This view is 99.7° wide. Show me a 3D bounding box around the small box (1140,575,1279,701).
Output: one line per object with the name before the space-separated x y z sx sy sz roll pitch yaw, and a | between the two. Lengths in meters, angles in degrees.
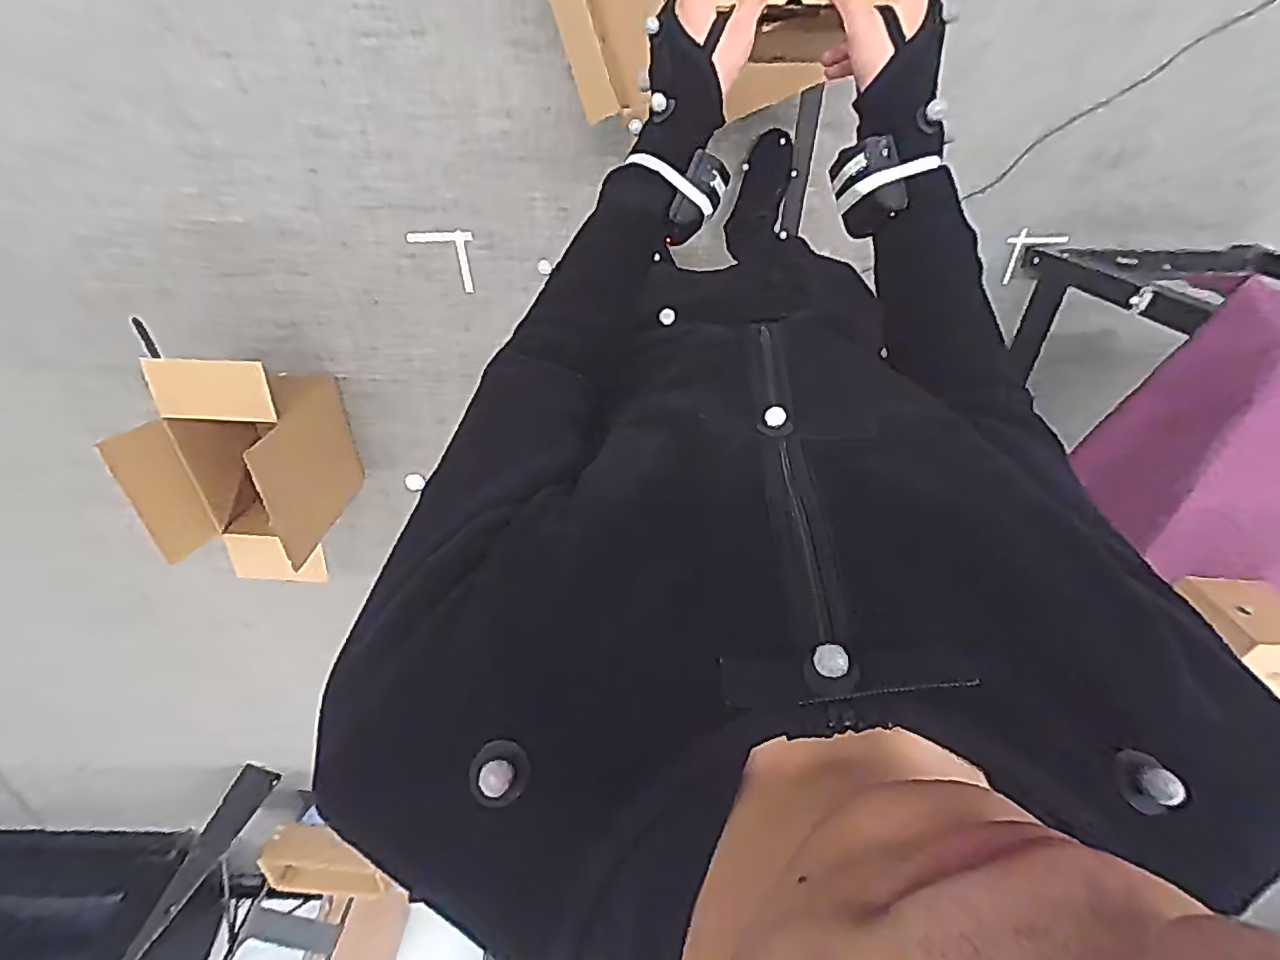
small box | 1.141 0.299 1.041 0.179 0.176 0.168 3 125 -2

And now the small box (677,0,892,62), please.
small box | 0.120 -0.487 0.469 0.168 0.176 0.179 -1 114 0
